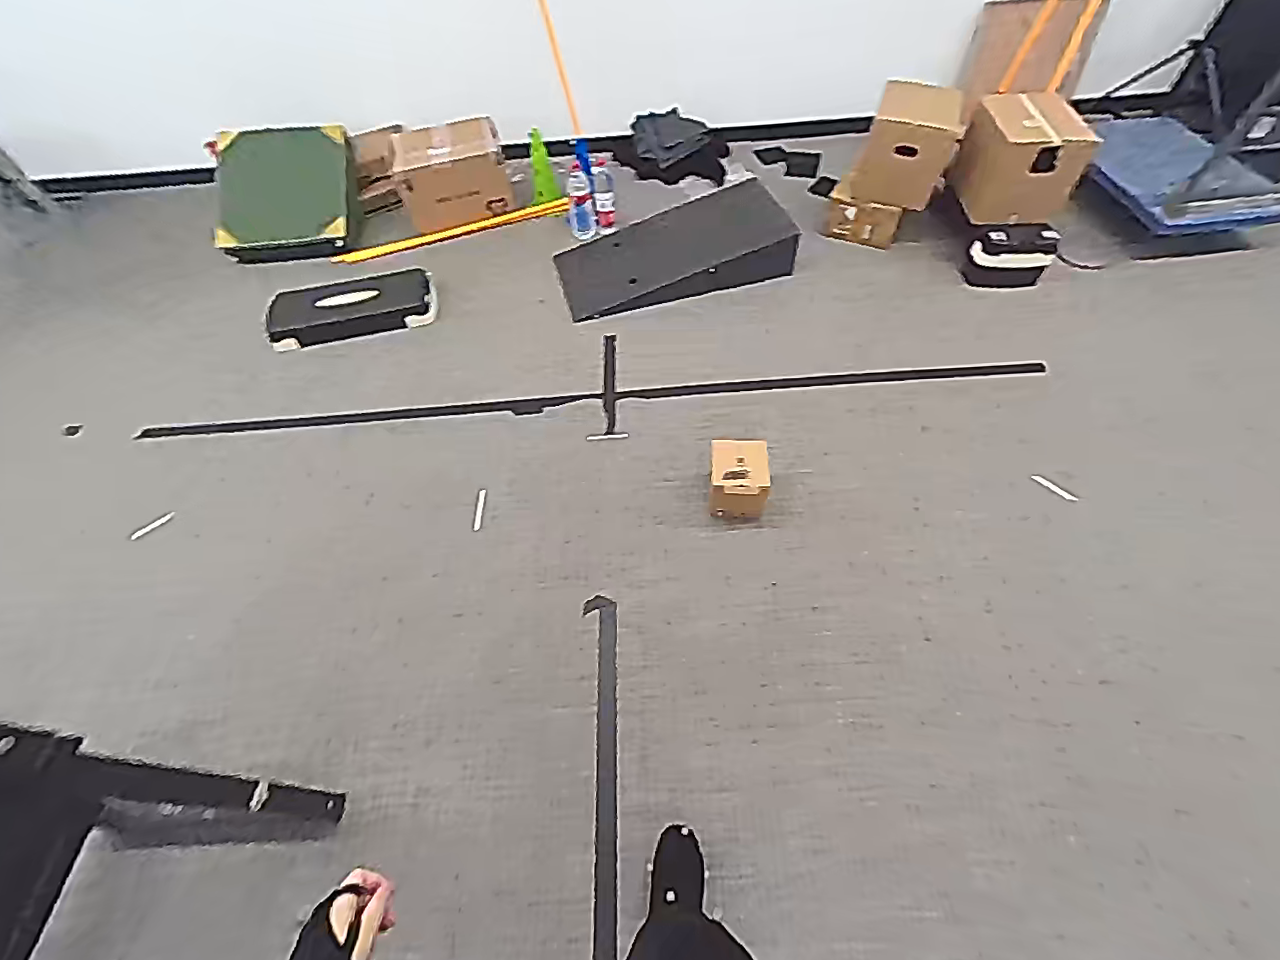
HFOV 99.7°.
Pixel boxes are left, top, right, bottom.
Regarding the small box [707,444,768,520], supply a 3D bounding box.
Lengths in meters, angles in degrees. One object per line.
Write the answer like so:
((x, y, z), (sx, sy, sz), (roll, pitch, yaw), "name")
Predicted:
((0.295, 0.009, 1.659), (0.168, 0.176, 0.179), (2, 54, 4), "small box")
